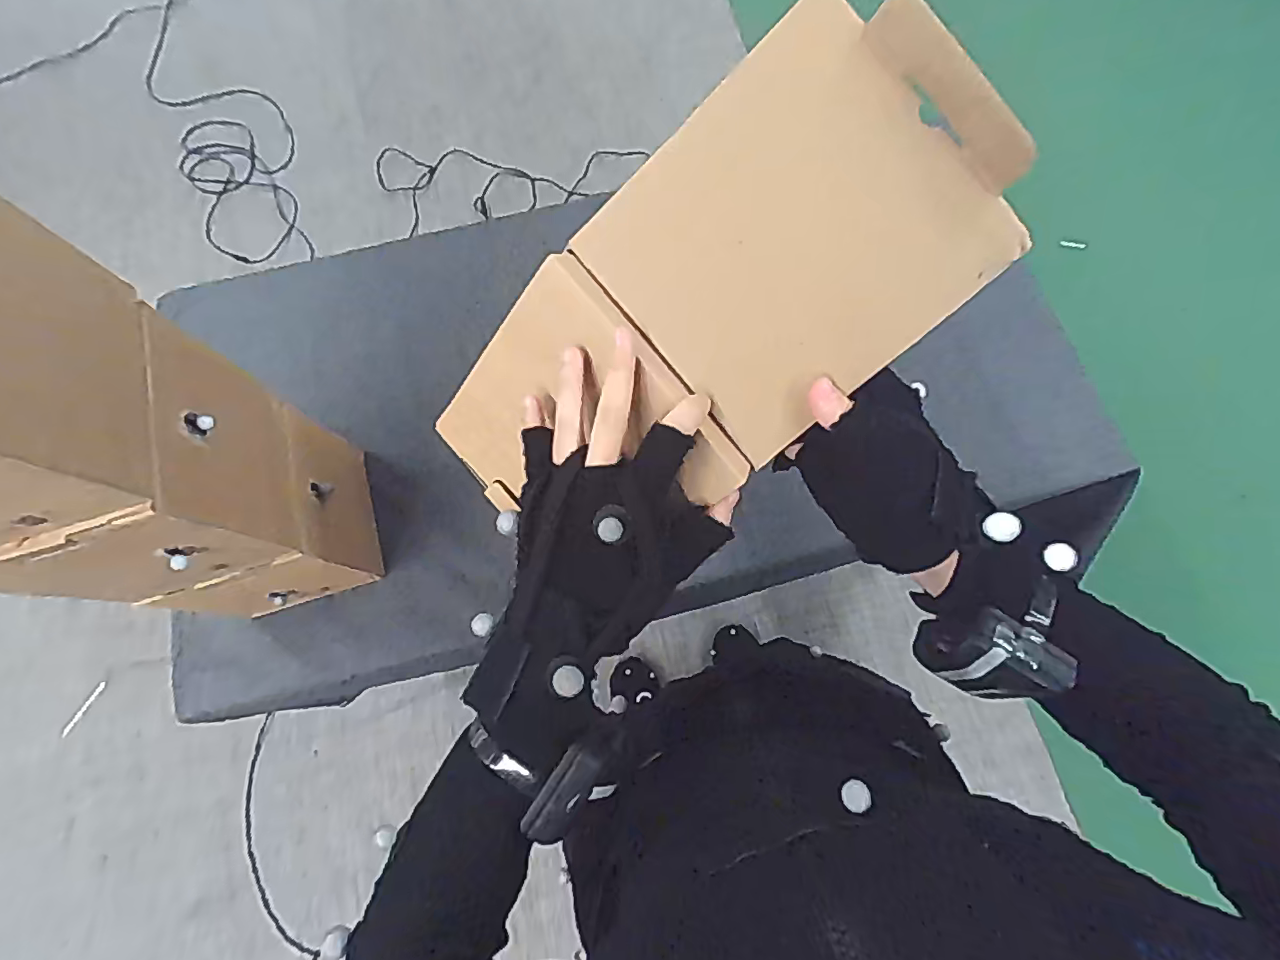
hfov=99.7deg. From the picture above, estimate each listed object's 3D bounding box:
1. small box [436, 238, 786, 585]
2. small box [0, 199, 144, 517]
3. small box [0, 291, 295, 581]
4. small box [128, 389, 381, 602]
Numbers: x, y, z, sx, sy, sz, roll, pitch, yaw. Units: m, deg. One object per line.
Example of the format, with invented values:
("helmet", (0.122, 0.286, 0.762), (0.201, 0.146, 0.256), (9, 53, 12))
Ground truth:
("small box", (-0.008, -0.059, 0.411), (0.179, 0.176, 0.168), (-39, 92, 33))
("small box", (-0.428, -0.073, 0.299), (0.168, 0.176, 0.179), (-17, 74, -5))
("small box", (-0.423, -0.020, 0.455), (0.168, 0.176, 0.179), (-16, 74, -4))
("small box", (-0.420, 0.028, 0.610), (0.168, 0.176, 0.179), (-17, 74, -4))
